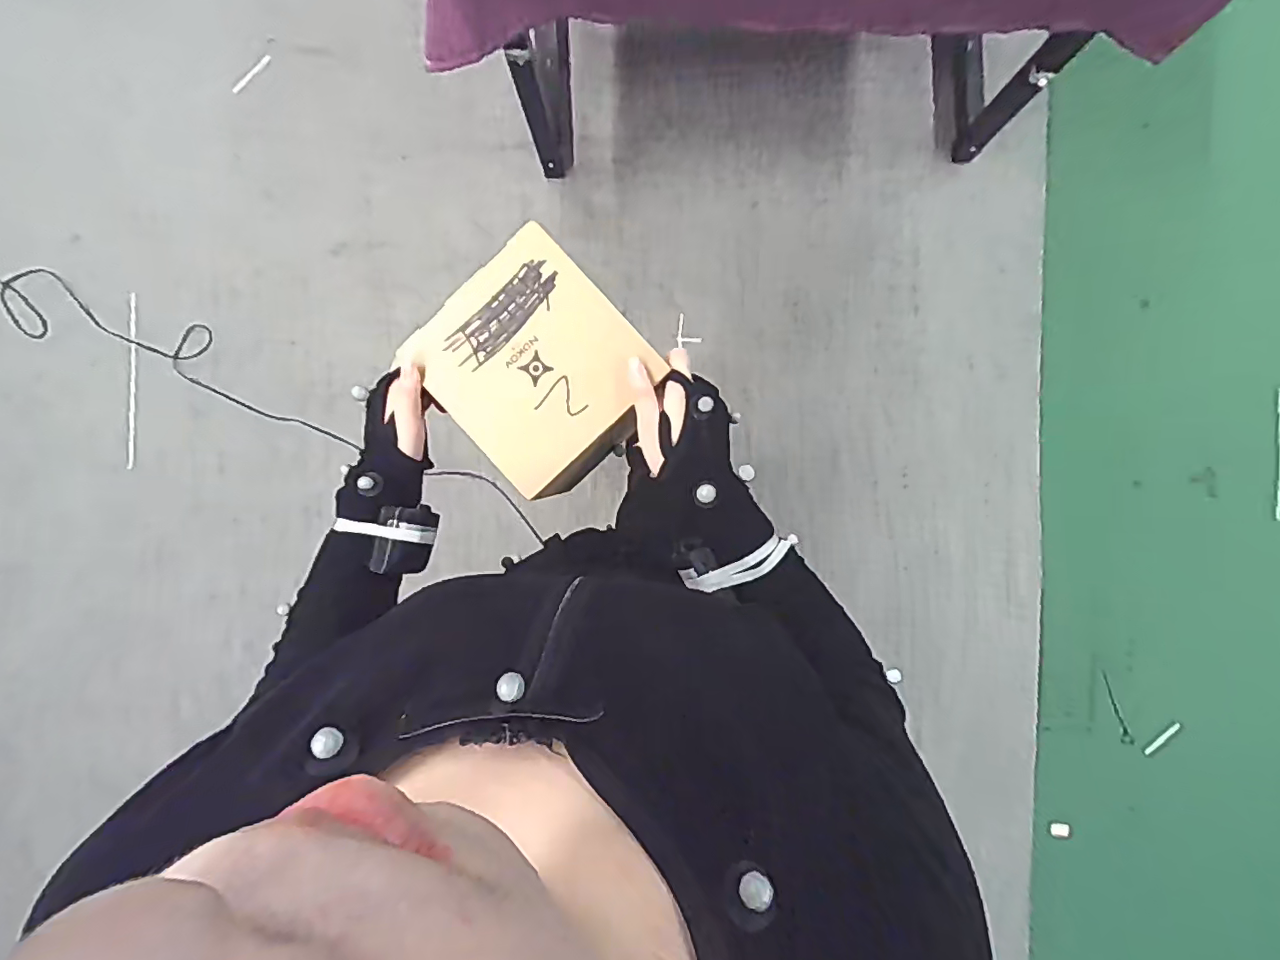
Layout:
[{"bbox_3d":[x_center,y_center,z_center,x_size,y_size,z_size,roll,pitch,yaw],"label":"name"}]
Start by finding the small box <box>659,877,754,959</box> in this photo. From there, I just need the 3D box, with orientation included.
[{"bbox_3d":[0.127,0.963,1.099,0.168,0.176,0.179,5,92,1],"label":"small box"}]
